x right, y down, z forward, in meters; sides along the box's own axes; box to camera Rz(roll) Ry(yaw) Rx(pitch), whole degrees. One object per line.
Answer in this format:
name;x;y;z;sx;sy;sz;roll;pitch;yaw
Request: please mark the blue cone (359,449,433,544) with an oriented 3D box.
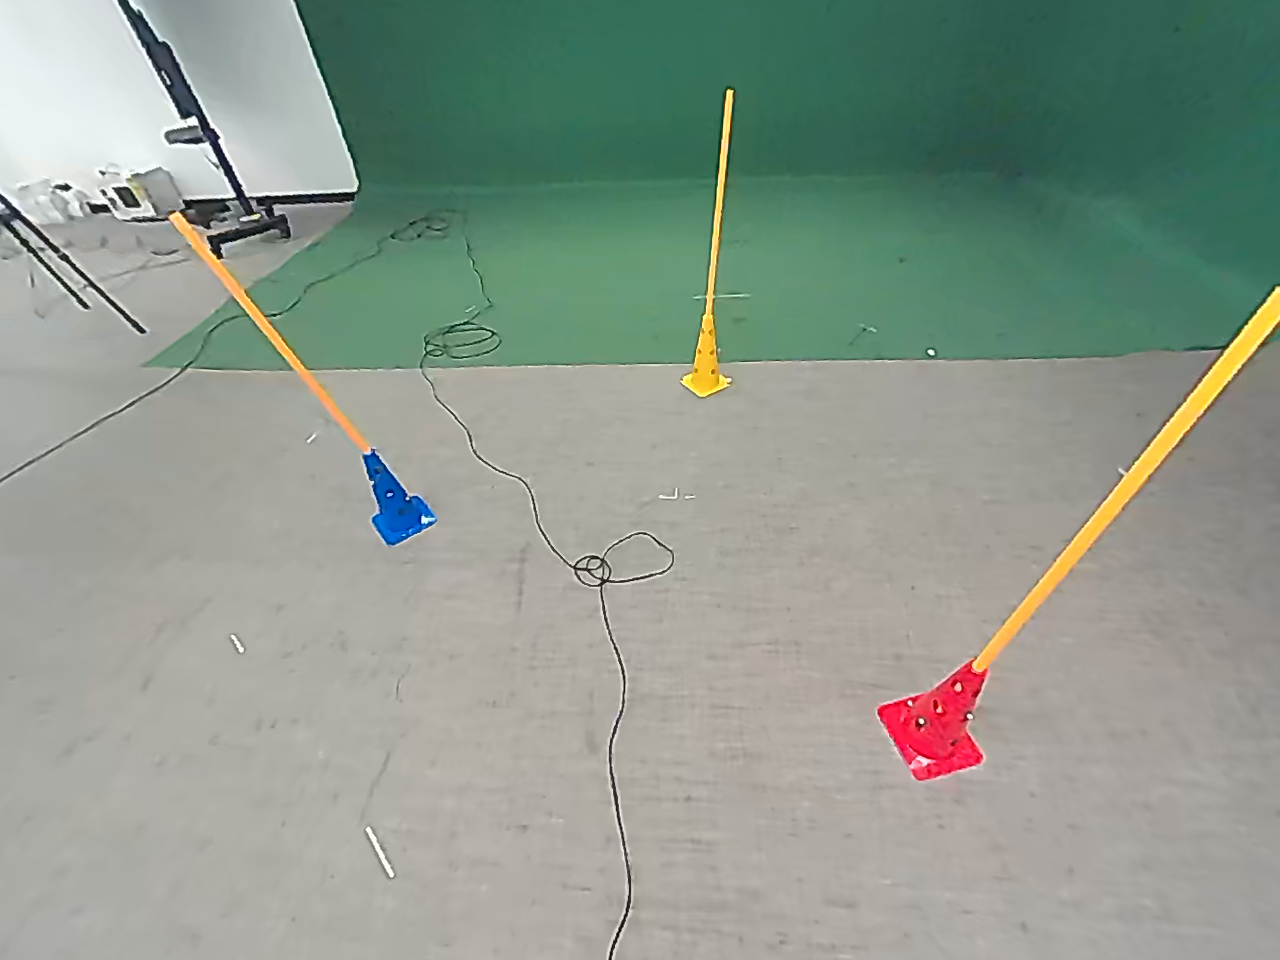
blue cone;-0.926;0.042;1.977;0.193;0.380;0.192;-34;52;-25
